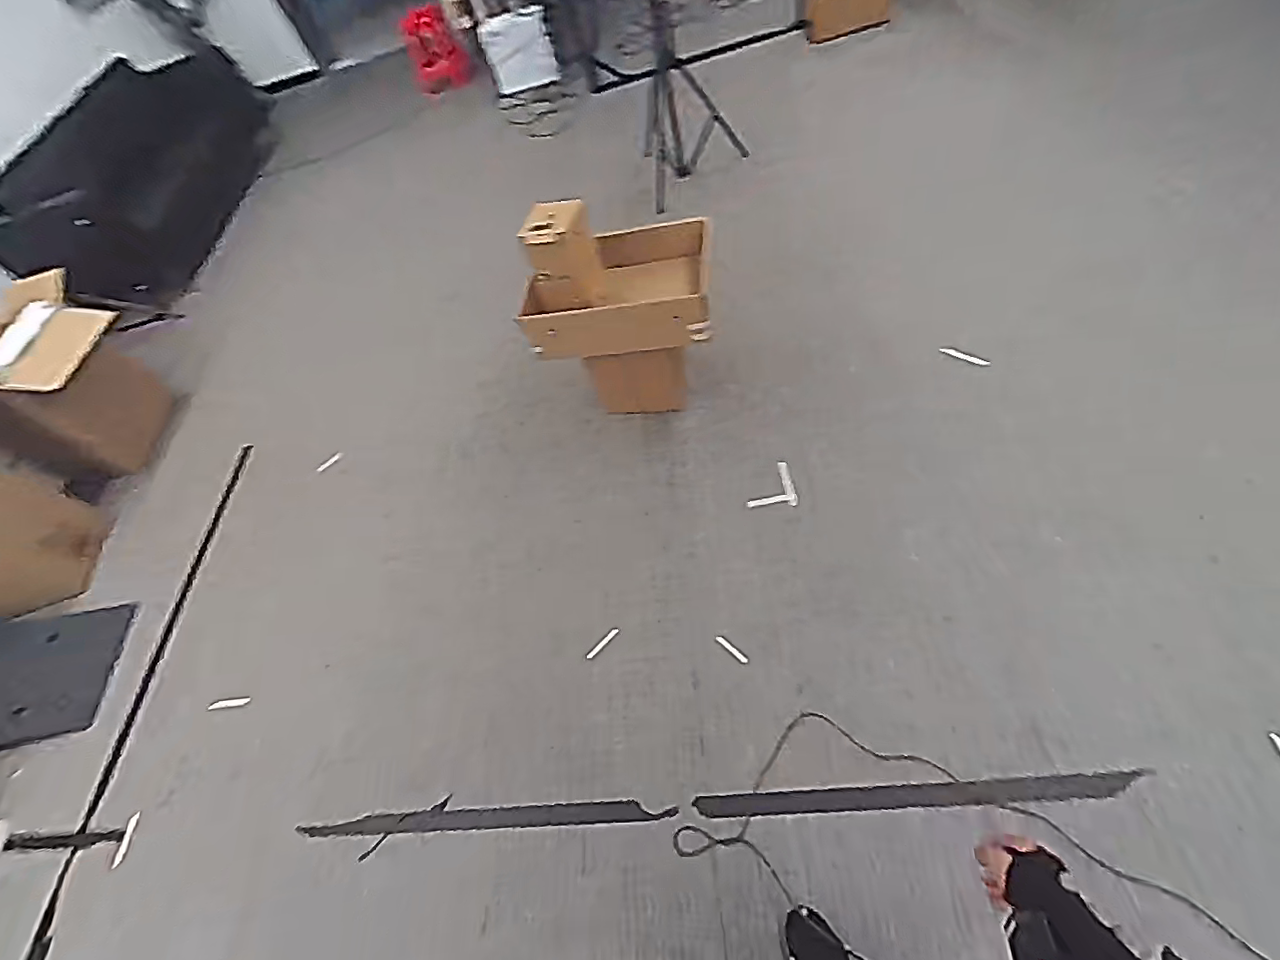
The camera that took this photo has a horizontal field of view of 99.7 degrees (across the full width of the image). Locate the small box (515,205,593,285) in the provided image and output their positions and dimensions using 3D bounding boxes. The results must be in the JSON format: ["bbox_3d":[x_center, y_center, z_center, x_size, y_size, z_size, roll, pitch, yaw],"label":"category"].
[{"bbox_3d":[-0.262,-0.733,1.706,0.168,0.176,0.179,4,58,19],"label":"small box"}]
